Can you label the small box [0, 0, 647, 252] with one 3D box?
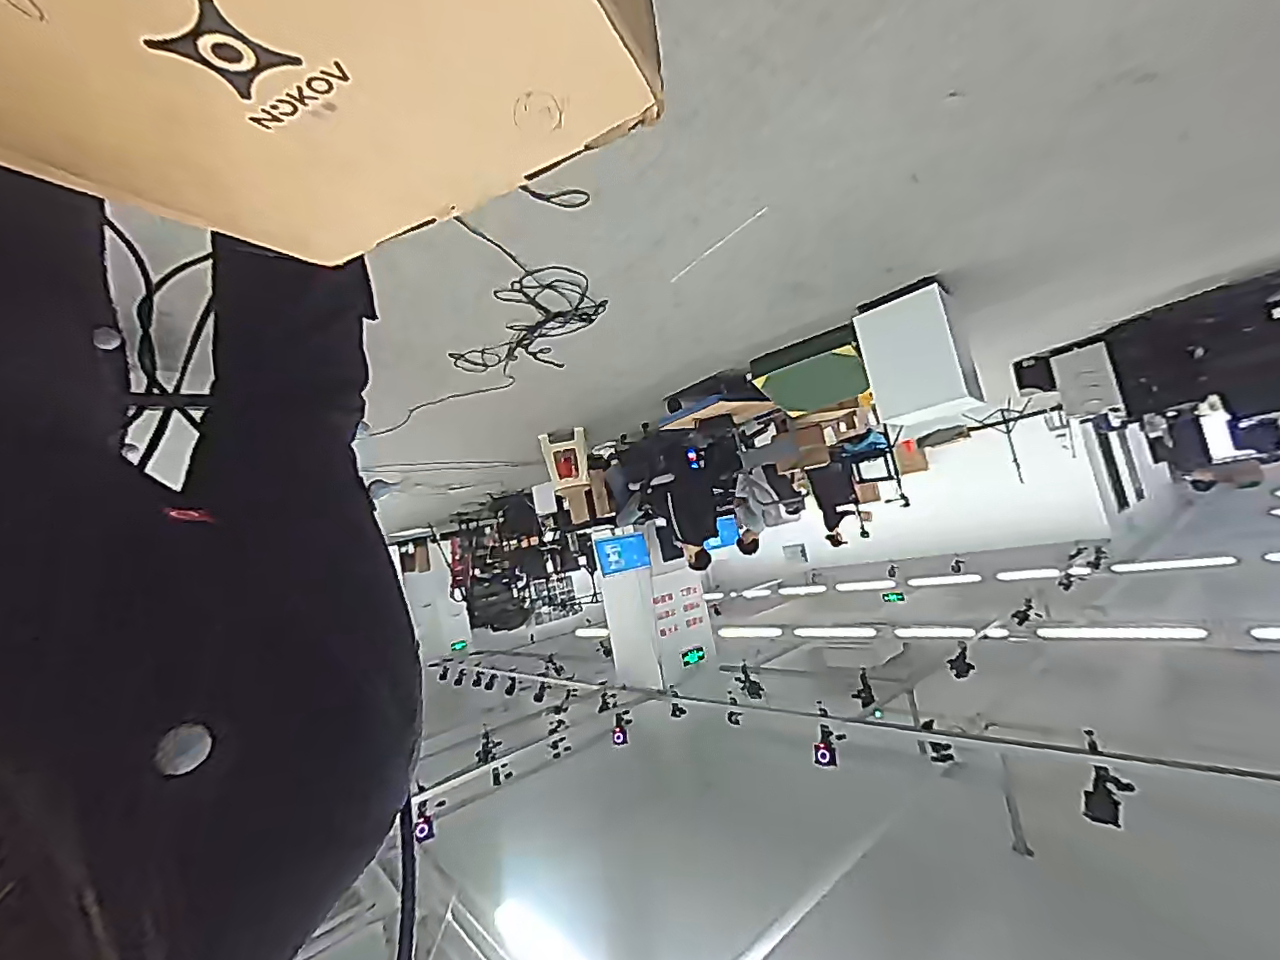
[{"bbox_3d":[-0.114,-0.189,0.134,0.168,0.176,0.179,-11,179,23],"label":"small box"}]
